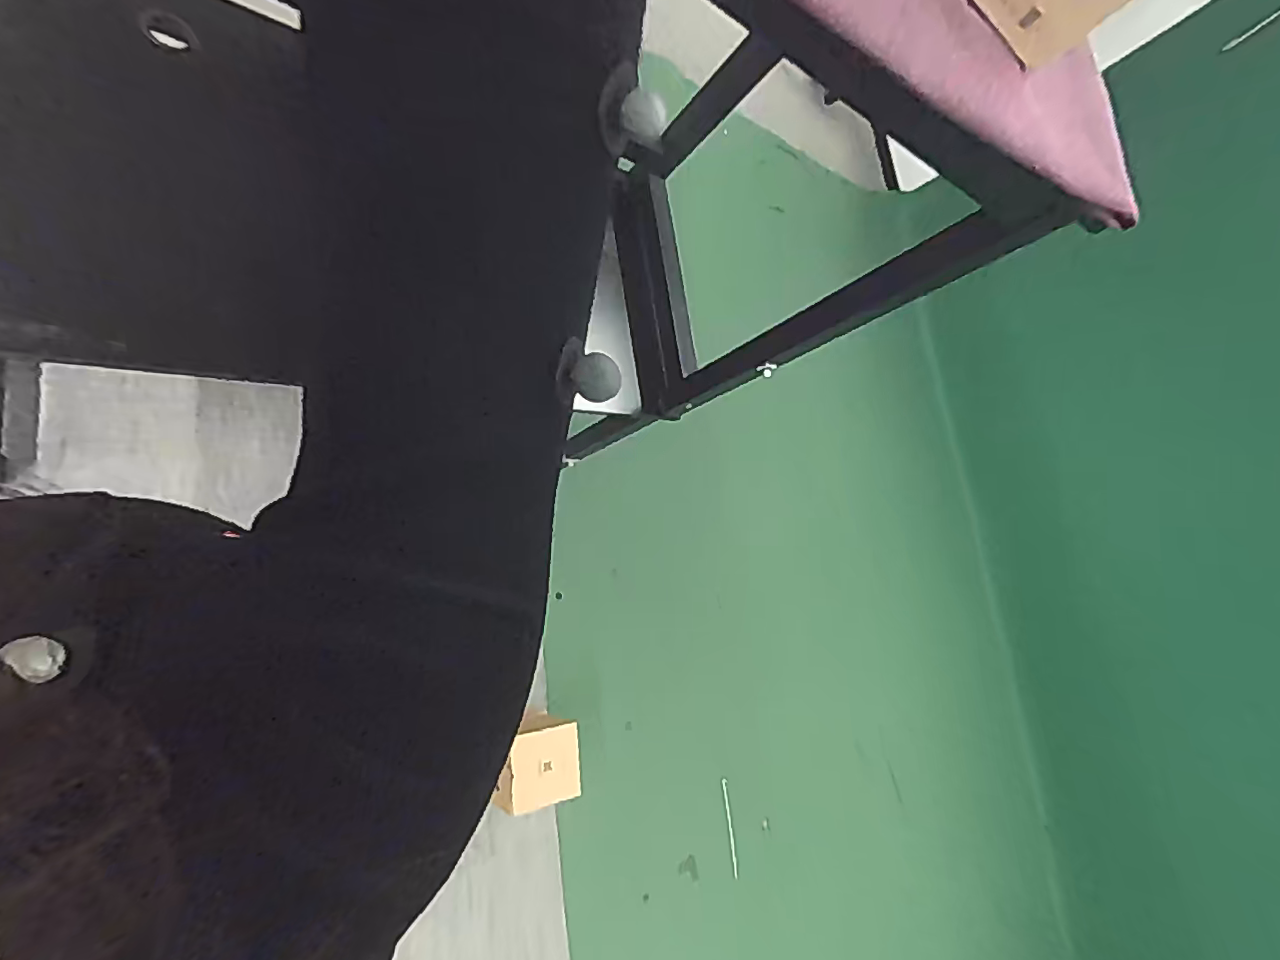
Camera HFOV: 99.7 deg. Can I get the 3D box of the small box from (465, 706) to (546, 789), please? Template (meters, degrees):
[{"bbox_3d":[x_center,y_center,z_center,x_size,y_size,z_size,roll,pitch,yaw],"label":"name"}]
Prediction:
[{"bbox_3d":[-0.357,0.706,1.432,0.168,0.176,0.179,5,76,-36],"label":"small box"}]

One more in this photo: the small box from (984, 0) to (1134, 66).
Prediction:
[{"bbox_3d":[0.340,-0.476,0.407,0.168,0.176,0.179,8,71,-34],"label":"small box"}]

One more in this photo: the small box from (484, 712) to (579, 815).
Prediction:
[{"bbox_3d":[-0.268,0.671,1.301,0.179,0.176,0.168,3,77,-37],"label":"small box"}]
